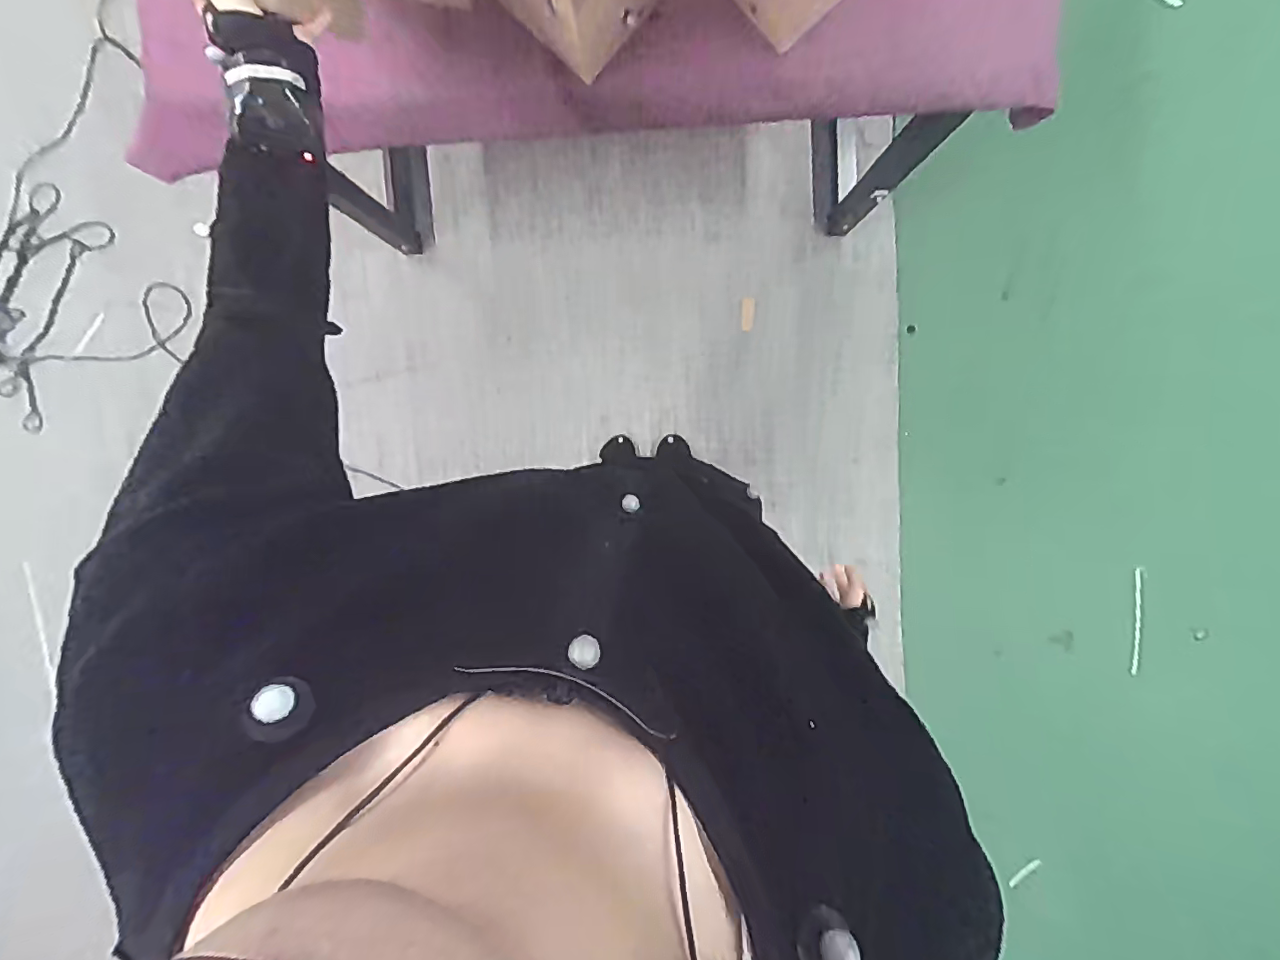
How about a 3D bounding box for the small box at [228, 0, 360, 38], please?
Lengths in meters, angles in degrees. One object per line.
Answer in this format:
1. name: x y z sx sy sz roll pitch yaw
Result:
1. small box: -0.356 -0.517 0.467 0.179 0.176 0.168 15 120 -10
